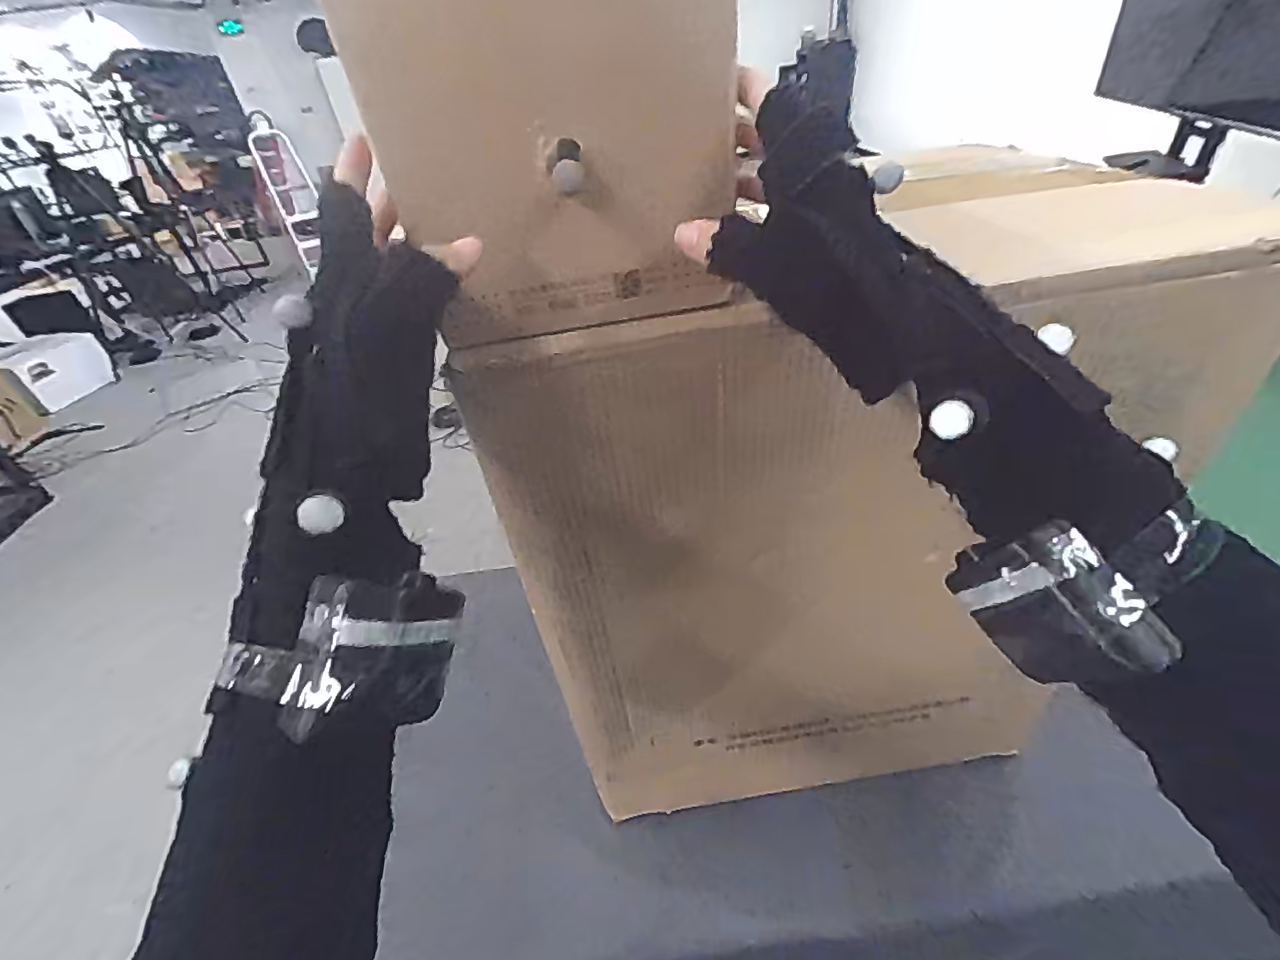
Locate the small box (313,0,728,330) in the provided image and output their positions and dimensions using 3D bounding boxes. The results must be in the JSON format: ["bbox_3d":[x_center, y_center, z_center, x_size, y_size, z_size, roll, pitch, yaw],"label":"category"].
[{"bbox_3d":[-0.046,-0.198,0.317,0.168,0.176,0.179,-9,41,-1],"label":"small box"}]
